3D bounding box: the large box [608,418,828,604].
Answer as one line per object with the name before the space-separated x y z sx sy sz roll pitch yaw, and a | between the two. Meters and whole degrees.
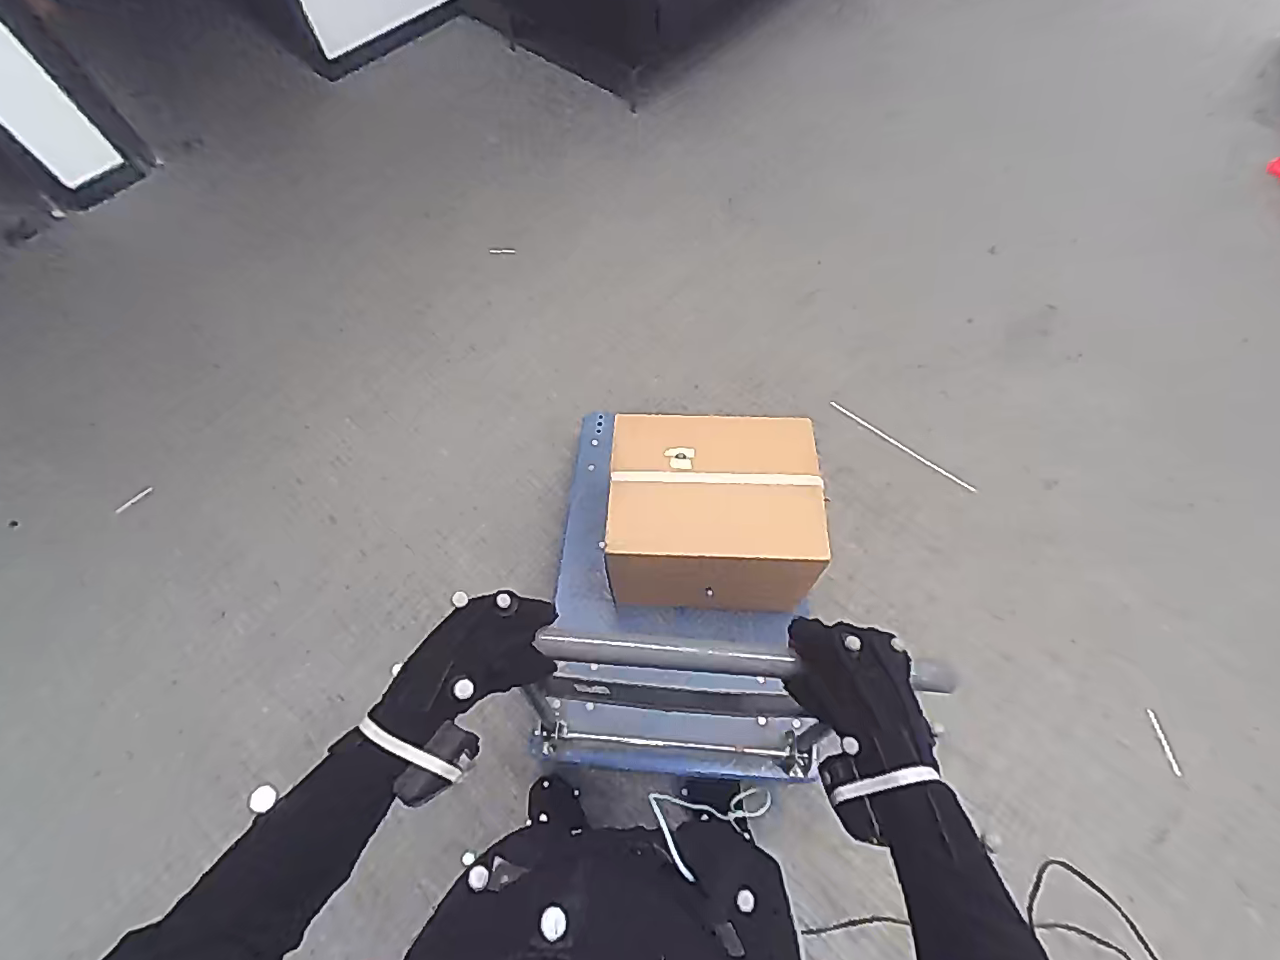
large box | 0.151 0.080 1.180 0.408 0.320 0.320 0 60 3
